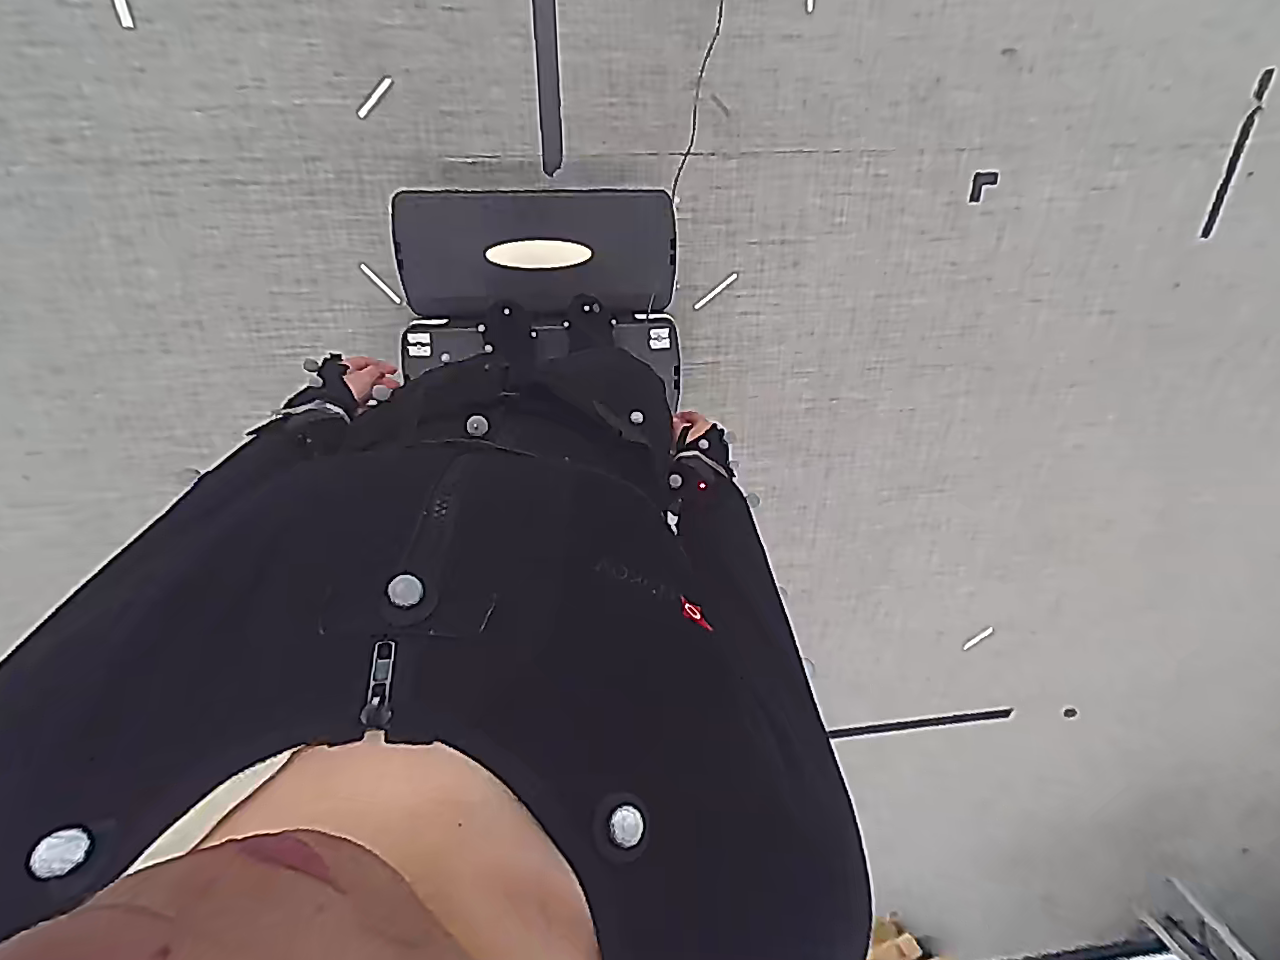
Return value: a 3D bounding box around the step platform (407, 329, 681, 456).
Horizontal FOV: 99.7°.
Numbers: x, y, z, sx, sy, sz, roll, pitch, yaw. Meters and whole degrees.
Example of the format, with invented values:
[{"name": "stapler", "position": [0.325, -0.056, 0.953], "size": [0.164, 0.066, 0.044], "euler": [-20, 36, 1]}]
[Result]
[{"name": "step platform", "position": [-0.235, -0.225, 1.406], "size": [0.684, 0.204, 0.286], "euler": [1, 111, -6]}]
